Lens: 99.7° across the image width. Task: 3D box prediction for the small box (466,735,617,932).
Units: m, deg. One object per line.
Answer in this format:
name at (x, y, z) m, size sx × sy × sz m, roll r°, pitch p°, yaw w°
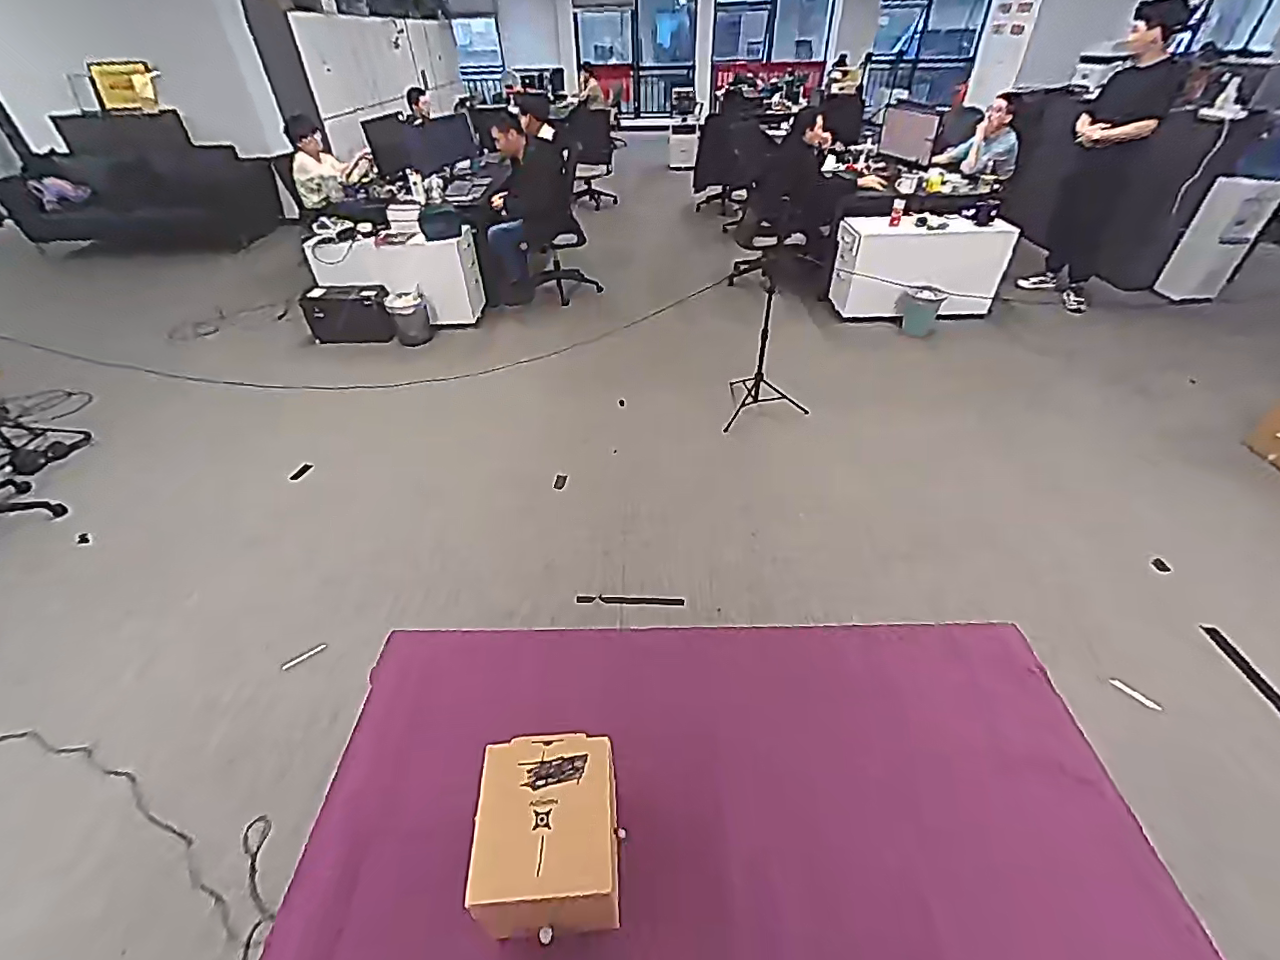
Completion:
small box at (-0.117, 0.467, 0.718) m, size 0.168 × 0.176 × 0.179 m, roll -3°, pitch 41°, yaw -2°
